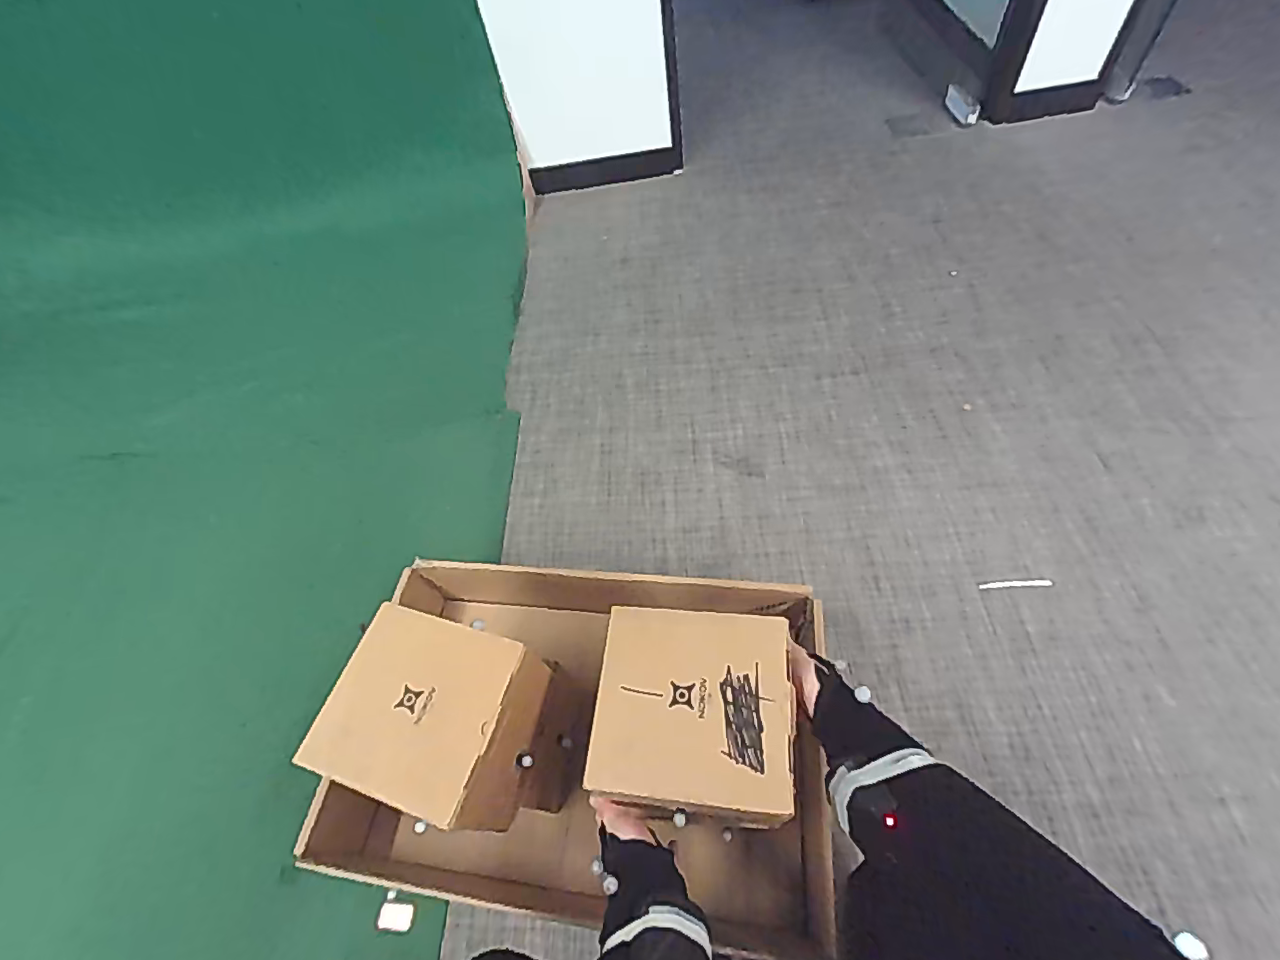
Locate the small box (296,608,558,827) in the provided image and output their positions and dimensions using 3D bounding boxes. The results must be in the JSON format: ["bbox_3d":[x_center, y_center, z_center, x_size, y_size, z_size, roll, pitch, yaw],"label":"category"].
[{"bbox_3d":[-0.213,0.264,0.593,0.179,0.176,0.168,12,59,14],"label":"small box"}]
